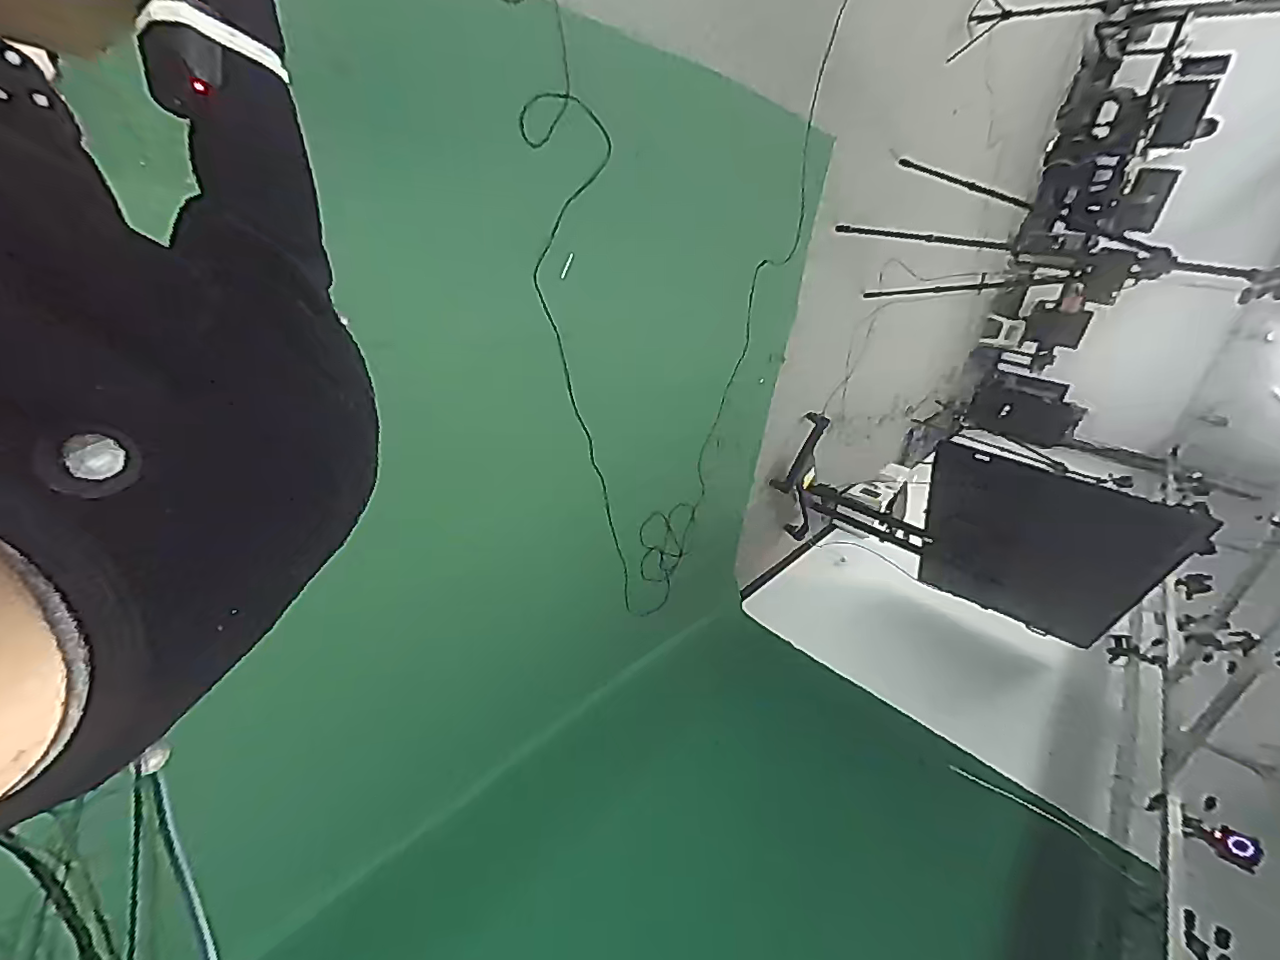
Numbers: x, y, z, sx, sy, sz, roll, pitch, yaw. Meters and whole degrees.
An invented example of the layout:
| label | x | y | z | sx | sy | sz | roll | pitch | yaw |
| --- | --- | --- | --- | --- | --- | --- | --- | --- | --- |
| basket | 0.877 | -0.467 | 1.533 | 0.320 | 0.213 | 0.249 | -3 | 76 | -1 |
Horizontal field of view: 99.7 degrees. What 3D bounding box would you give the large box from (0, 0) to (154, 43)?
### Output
| label | x | y | z | sx | sy | sz | roll | pitch | yaw |
| --- | --- | --- | --- | --- | --- | --- | --- | --- | --- |
| large box | -0.550 | -0.483 | 0.267 | 0.408 | 0.320 | 0.320 | -25 | 123 | -48 |
